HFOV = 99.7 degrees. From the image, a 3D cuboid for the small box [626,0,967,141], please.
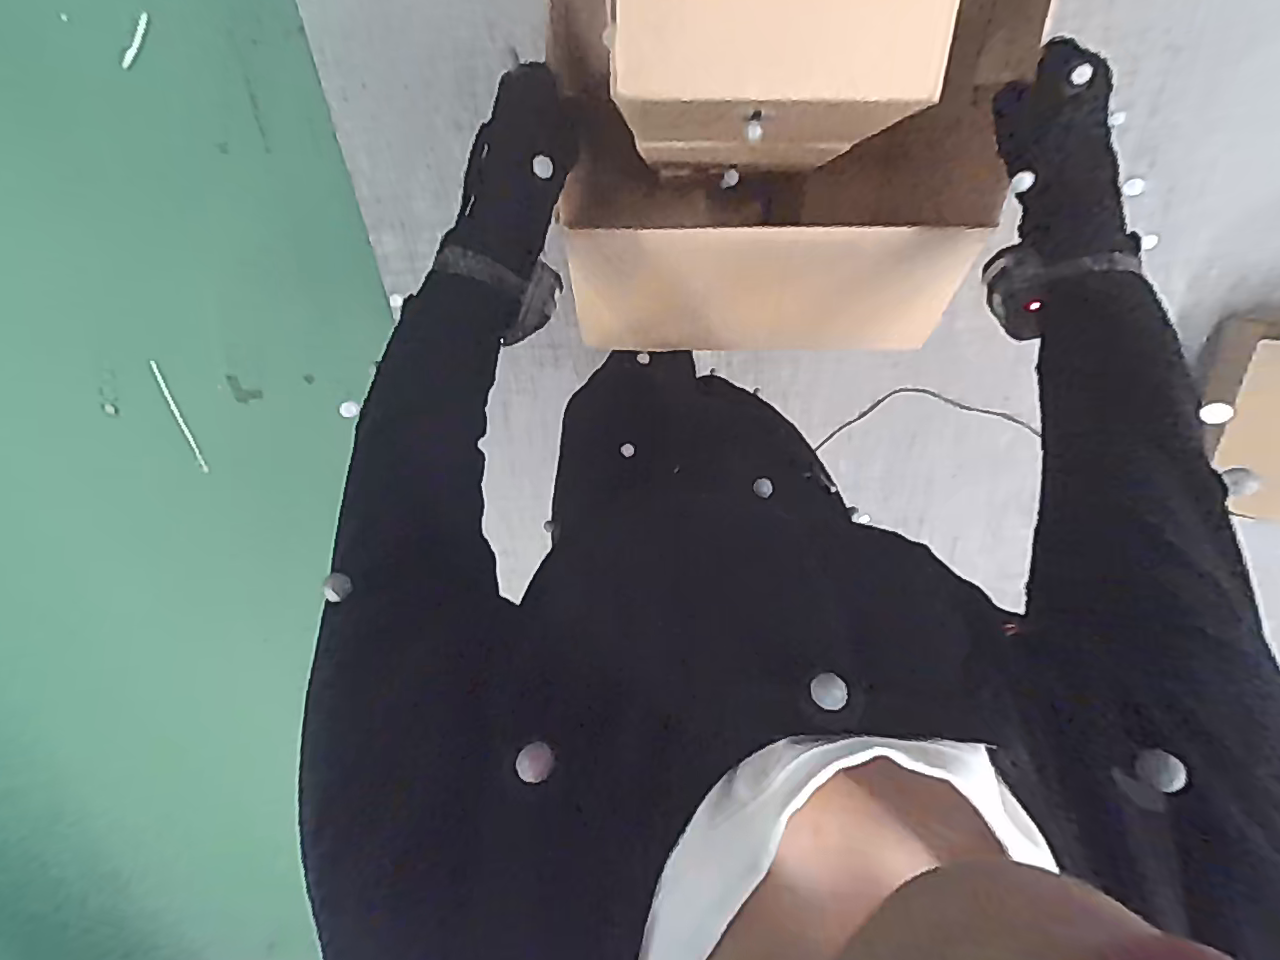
[{"bbox_3d":[0.086,-0.316,0.334,0.179,0.176,0.168,1,116,4],"label":"small box"}]
